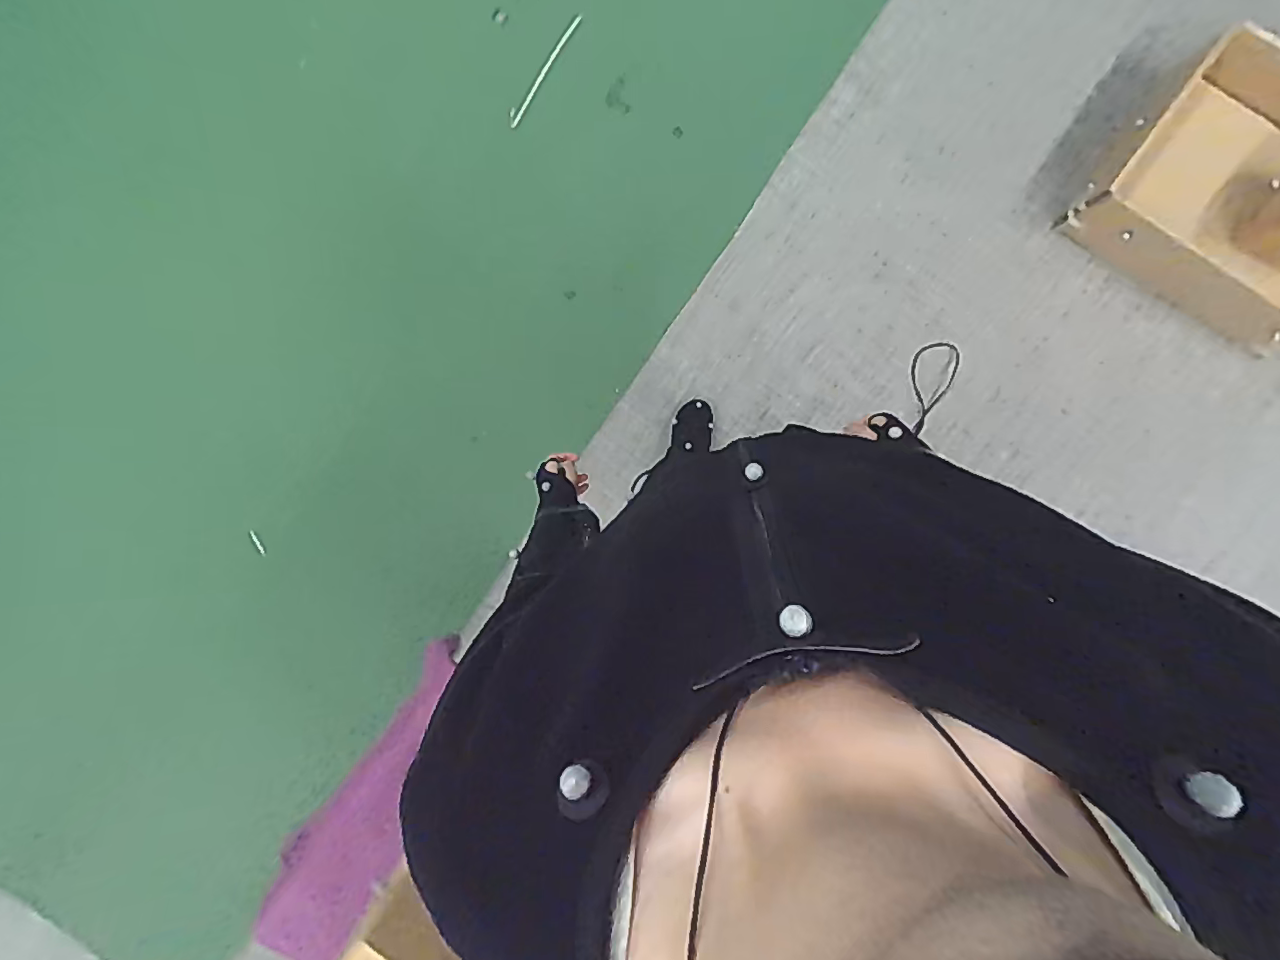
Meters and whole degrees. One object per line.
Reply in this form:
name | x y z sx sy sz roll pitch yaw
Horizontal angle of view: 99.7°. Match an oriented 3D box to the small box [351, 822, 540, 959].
small box | -0.246 0.576 0.656 0.168 0.176 0.179 35 100 0
